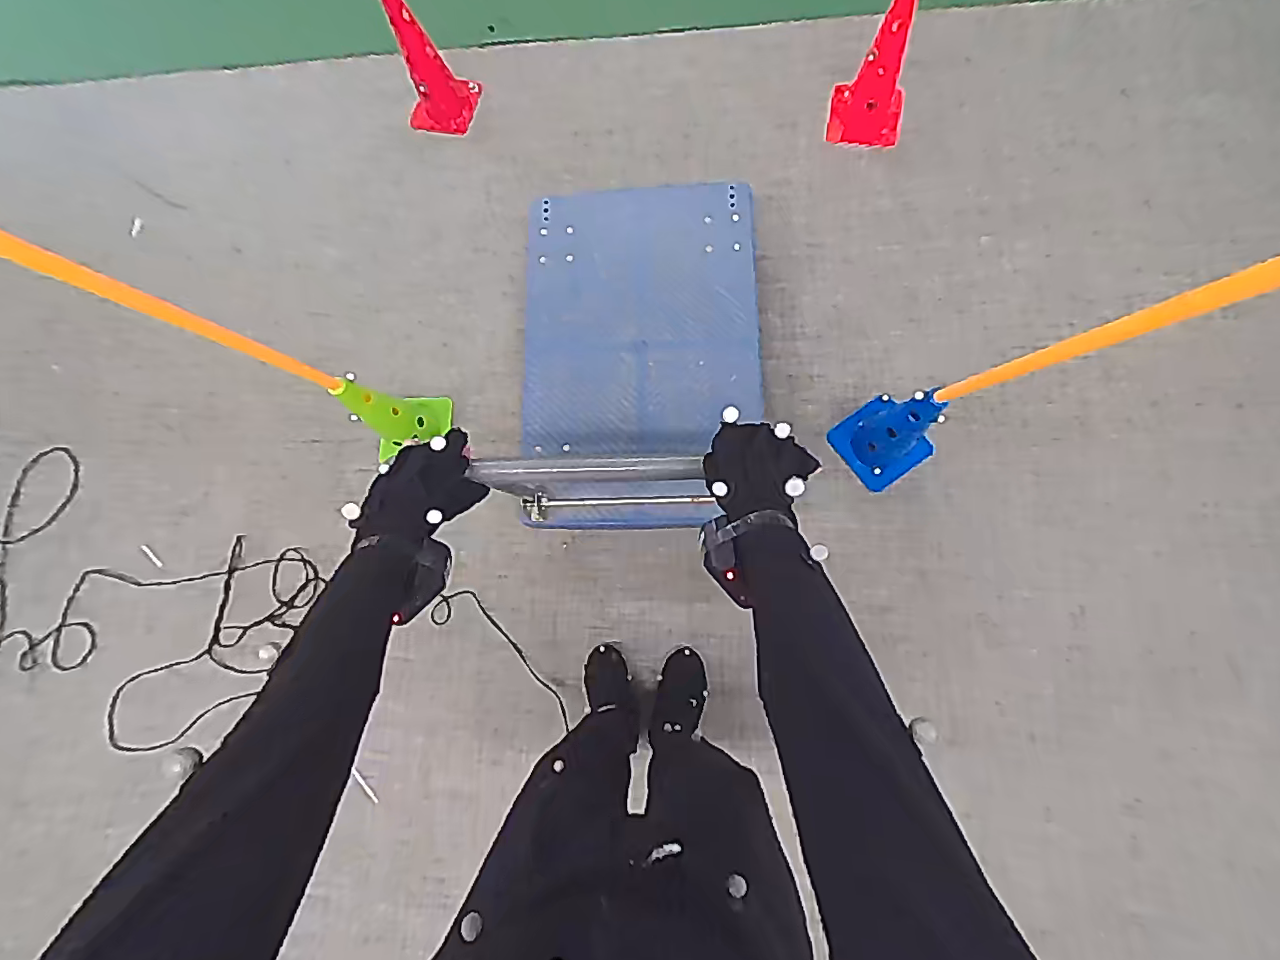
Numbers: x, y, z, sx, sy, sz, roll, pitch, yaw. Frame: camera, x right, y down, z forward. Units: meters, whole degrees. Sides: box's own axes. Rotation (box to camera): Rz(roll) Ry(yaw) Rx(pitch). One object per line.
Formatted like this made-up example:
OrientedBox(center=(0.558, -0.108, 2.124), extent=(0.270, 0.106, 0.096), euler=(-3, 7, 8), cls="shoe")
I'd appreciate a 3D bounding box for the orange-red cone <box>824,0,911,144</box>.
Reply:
OrientedBox(center=(0.623, -1.091, 1.391), extent=(0.198, 0.360, 0.199), euler=(11, 81, 9), cls="orange-red cone")
